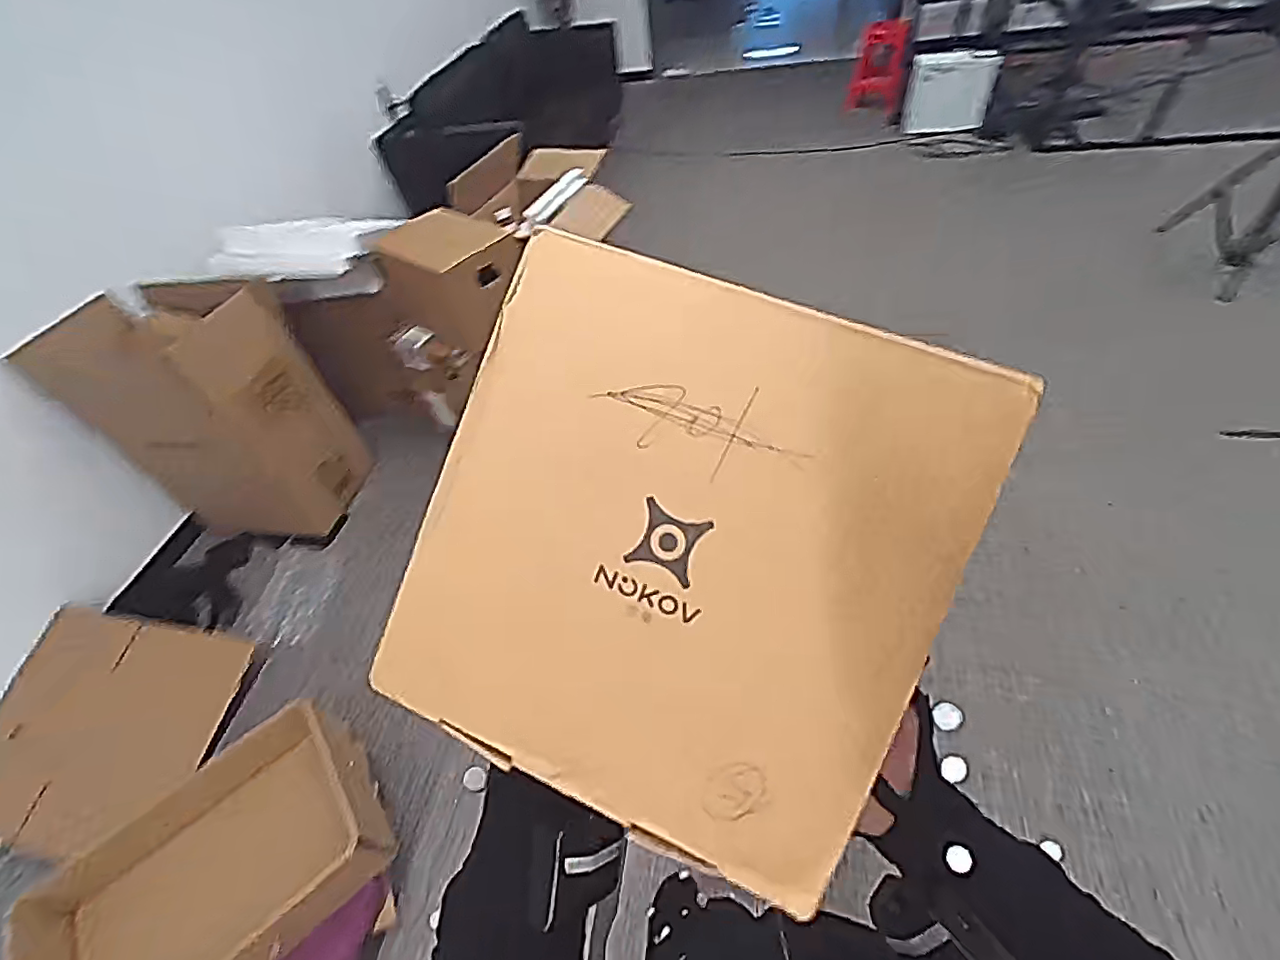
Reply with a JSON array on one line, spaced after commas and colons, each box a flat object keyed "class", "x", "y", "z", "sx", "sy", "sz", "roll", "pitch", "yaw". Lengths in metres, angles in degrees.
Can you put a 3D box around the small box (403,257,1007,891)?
[{"class": "small box", "x": 0.028, "y": 0.028, "z": 0.265, "sx": 0.168, "sy": 0.176, "sz": 0.179, "roll": 21, "pitch": 93, "yaw": 11}]
